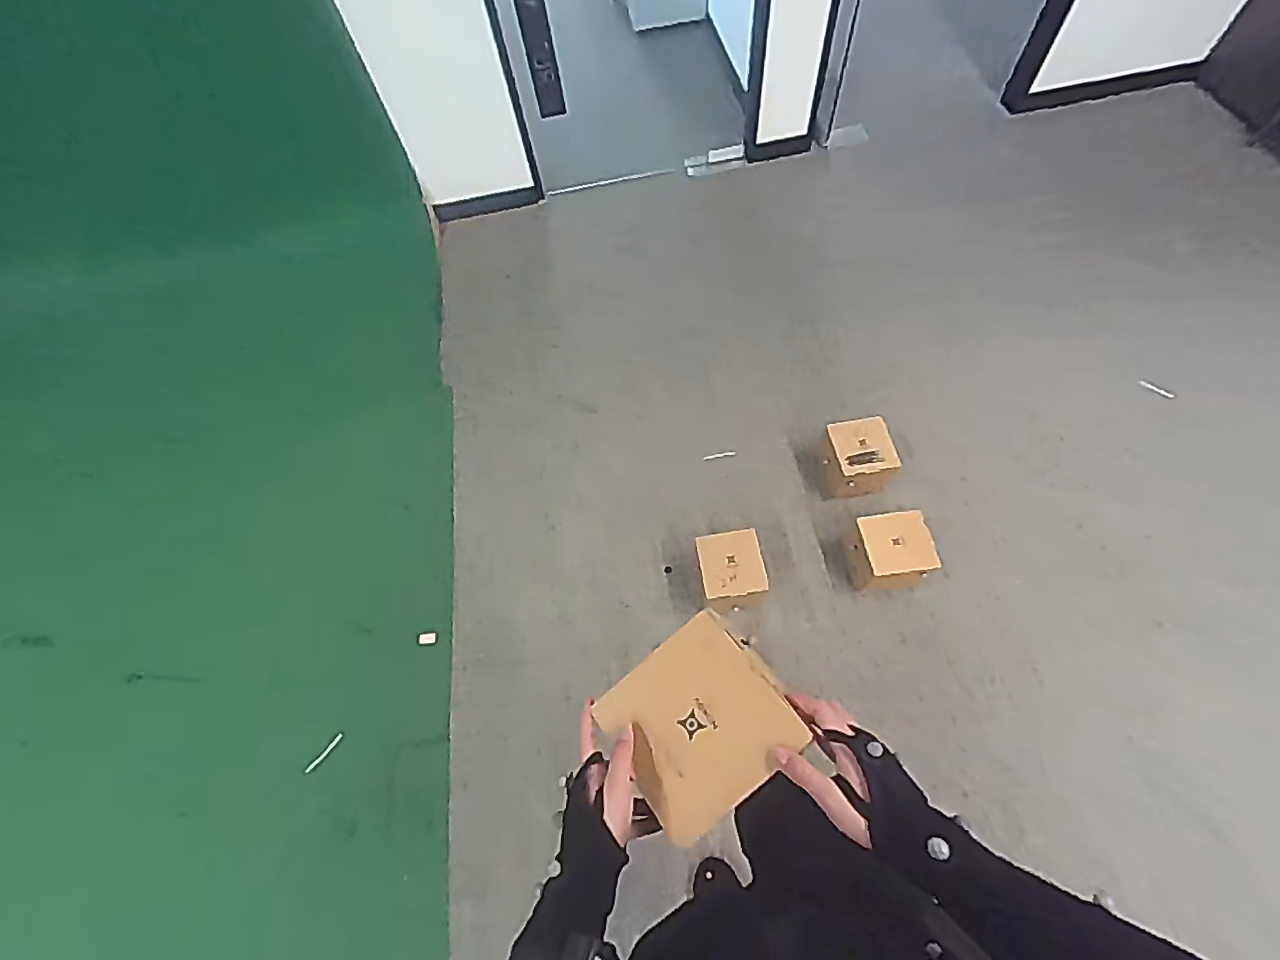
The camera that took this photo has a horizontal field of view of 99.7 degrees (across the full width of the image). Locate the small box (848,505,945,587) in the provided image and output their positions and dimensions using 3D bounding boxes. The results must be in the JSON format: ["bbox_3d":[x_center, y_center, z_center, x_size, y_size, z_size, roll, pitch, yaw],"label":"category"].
[{"bbox_3d":[0.683,0.184,1.467,0.179,0.176,0.168,-8,63,1],"label":"small box"}]

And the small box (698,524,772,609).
[{"bbox_3d":[0.252,0.240,1.480,0.168,0.176,0.179,-9,63,2],"label":"small box"}]

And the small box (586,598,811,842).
[{"bbox_3d":[0.075,0.263,0.618,0.179,0.176,0.168,-41,61,1],"label":"small box"}]
